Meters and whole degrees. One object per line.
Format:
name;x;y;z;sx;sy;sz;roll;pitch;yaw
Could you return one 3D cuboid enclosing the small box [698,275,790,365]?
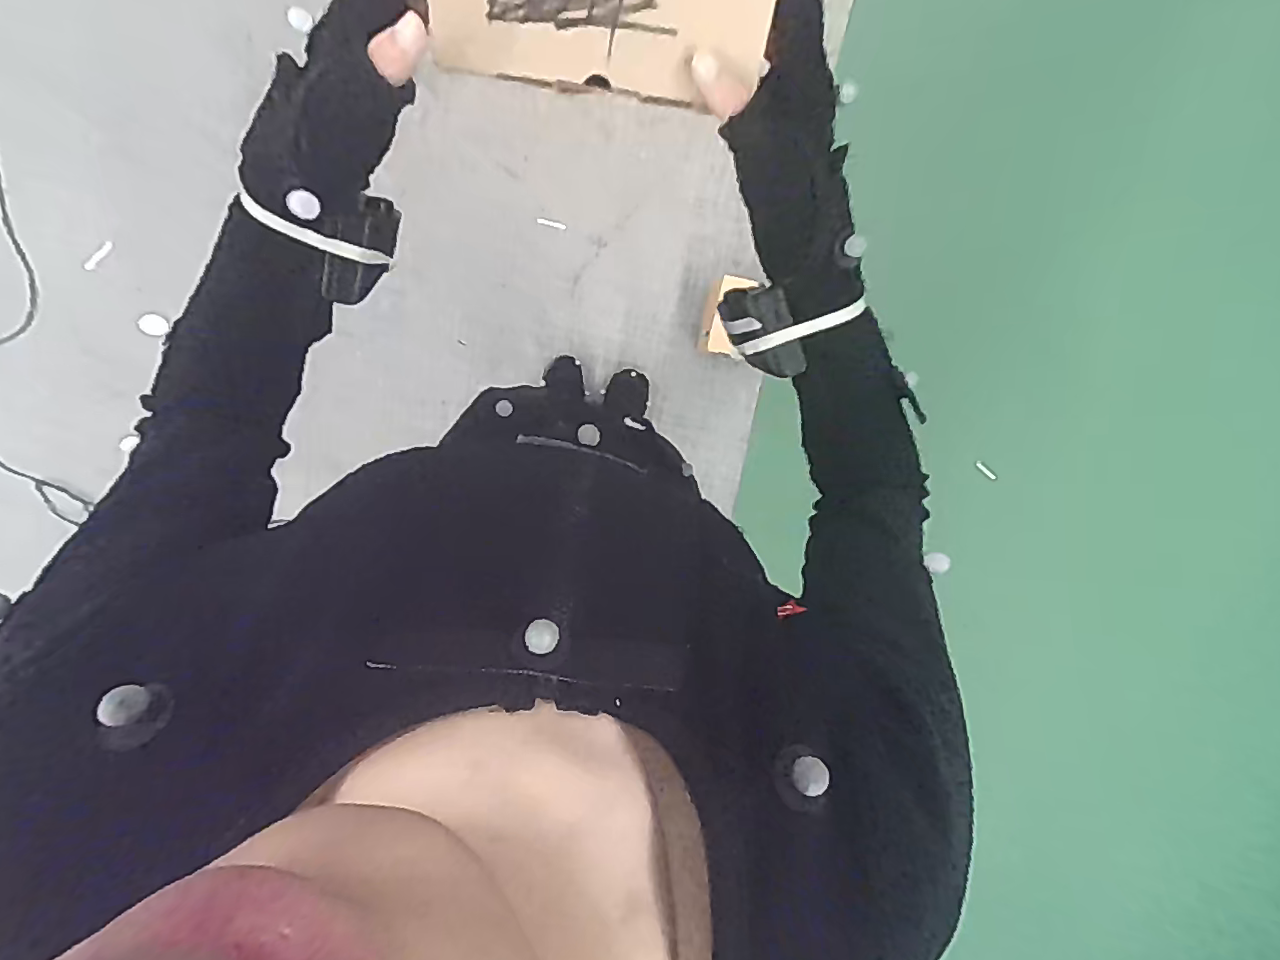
small box;0.250;-0.390;1.341;0.168;0.176;0.179;11;102;-5
